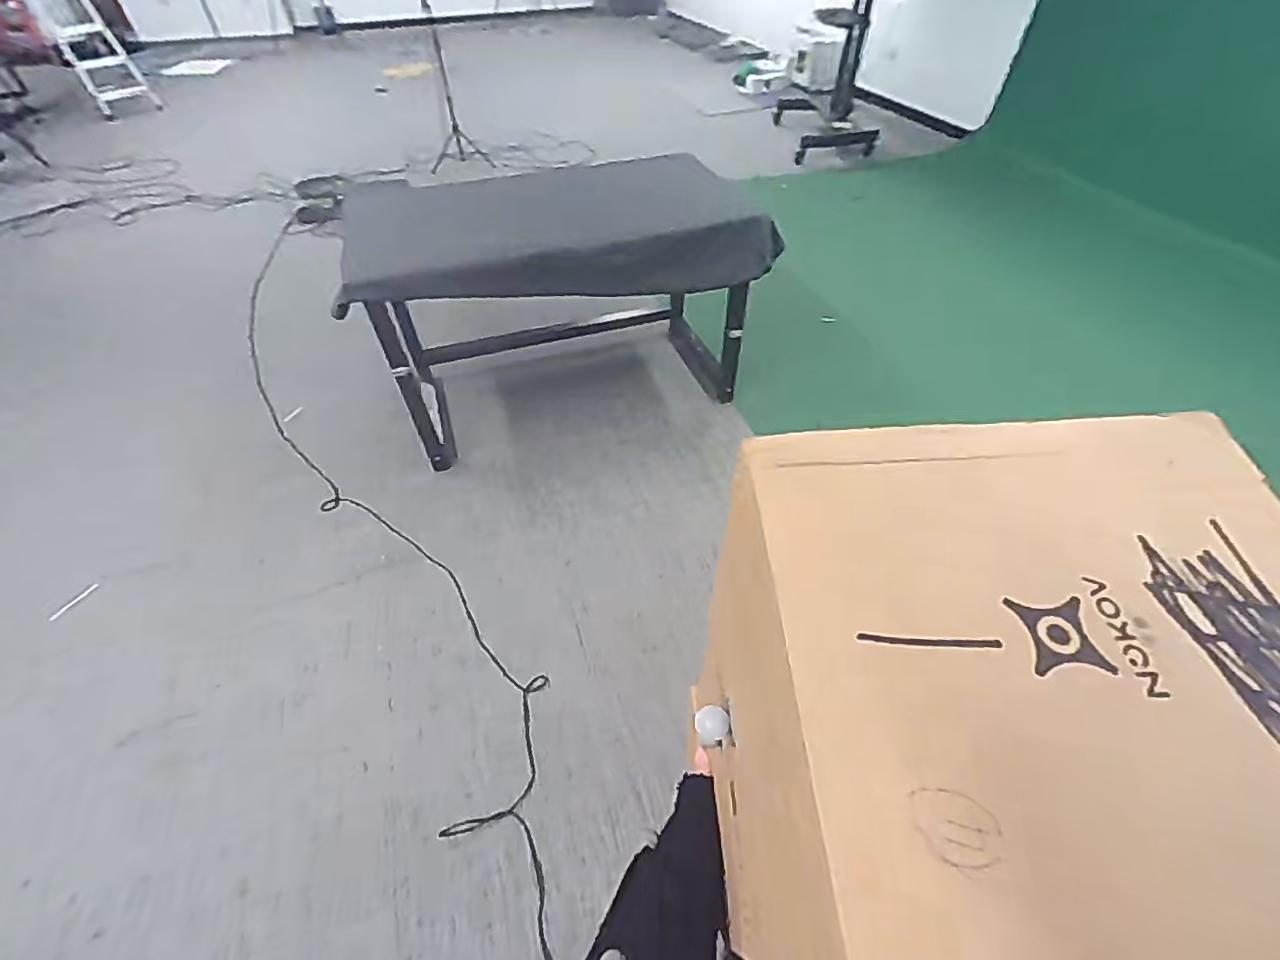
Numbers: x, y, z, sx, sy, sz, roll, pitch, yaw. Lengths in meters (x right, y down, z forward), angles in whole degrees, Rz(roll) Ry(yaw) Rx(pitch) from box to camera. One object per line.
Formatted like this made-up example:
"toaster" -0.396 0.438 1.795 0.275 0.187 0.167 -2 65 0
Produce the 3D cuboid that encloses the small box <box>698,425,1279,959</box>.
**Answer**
"small box" 0.128 0.096 0.230 0.179 0.176 0.168 -4 54 -3
